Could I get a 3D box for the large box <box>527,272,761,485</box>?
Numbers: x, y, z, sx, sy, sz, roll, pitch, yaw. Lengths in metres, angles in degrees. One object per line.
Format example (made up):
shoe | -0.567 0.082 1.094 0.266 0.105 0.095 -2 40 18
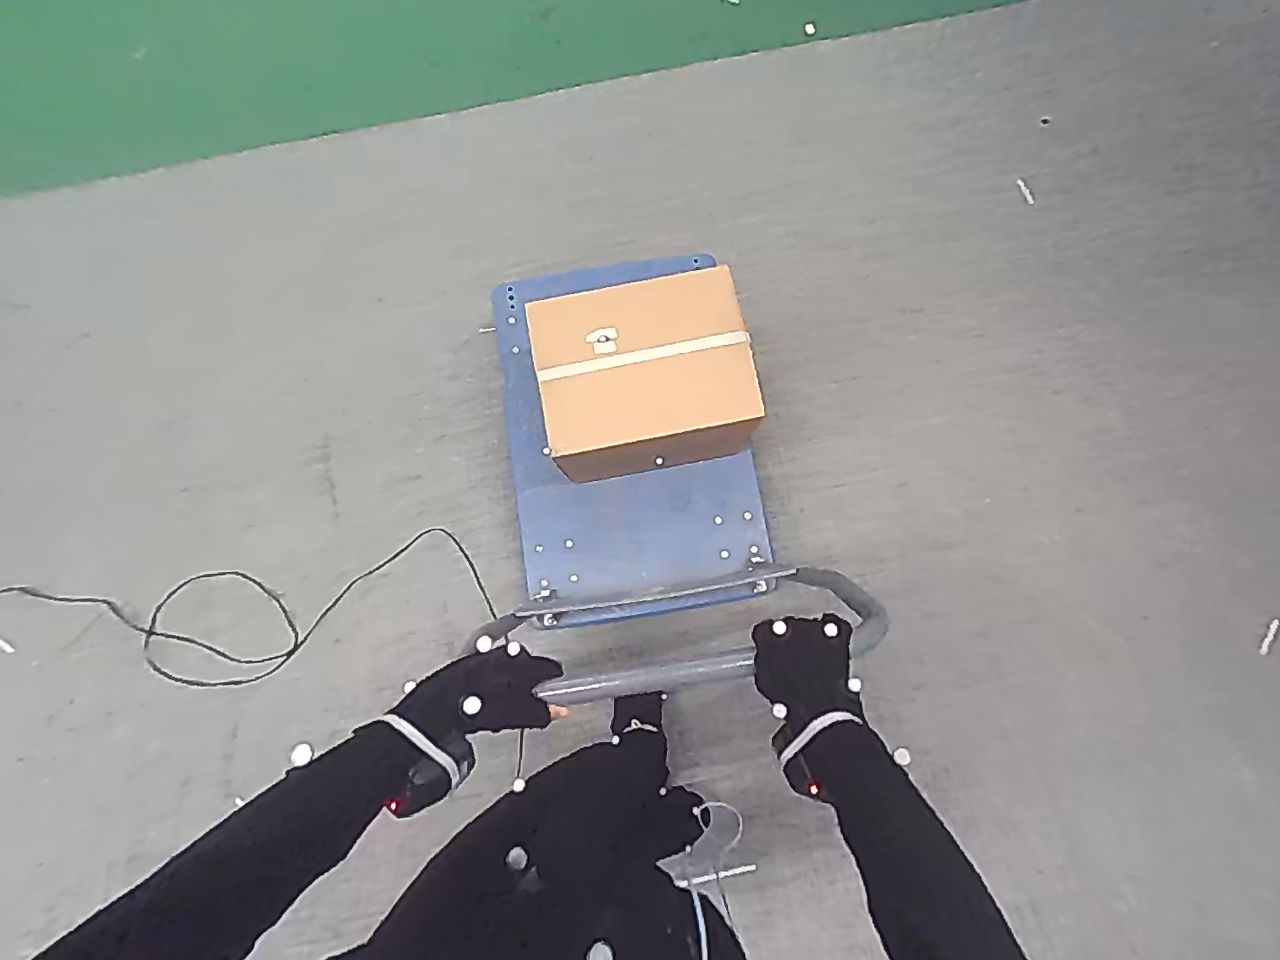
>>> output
large box | 0.010 -0.197 1.182 0.408 0.320 0.320 -12 80 0
